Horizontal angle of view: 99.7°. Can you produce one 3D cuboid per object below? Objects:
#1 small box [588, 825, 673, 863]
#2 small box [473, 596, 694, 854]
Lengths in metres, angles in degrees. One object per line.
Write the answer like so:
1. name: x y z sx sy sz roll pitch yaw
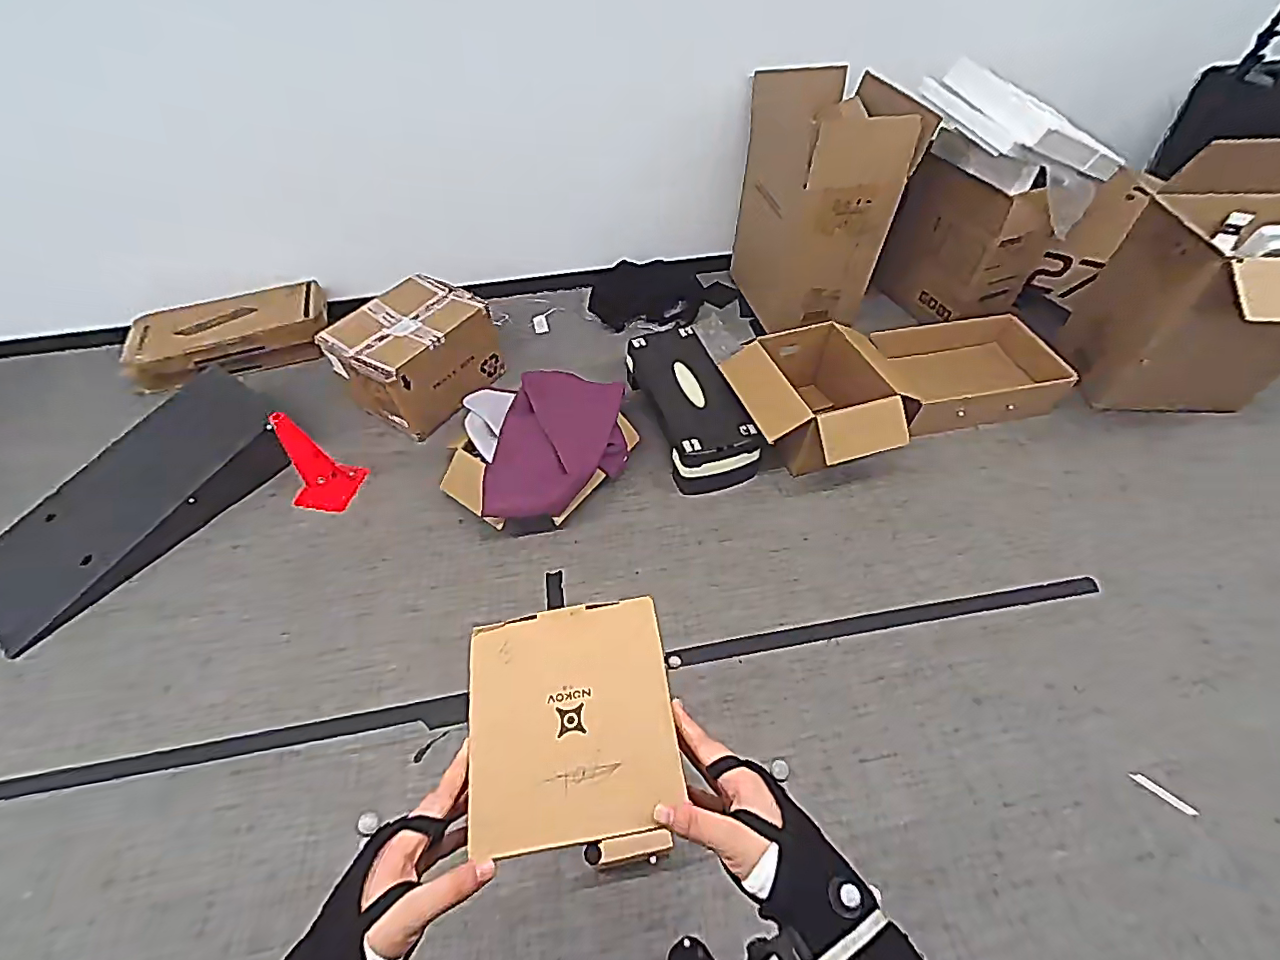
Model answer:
1. small box: -0.029 0.742 1.212 0.179 0.176 0.168 -9 52 -6
2. small box: -0.047 0.231 0.507 0.168 0.176 0.179 -10 58 0
